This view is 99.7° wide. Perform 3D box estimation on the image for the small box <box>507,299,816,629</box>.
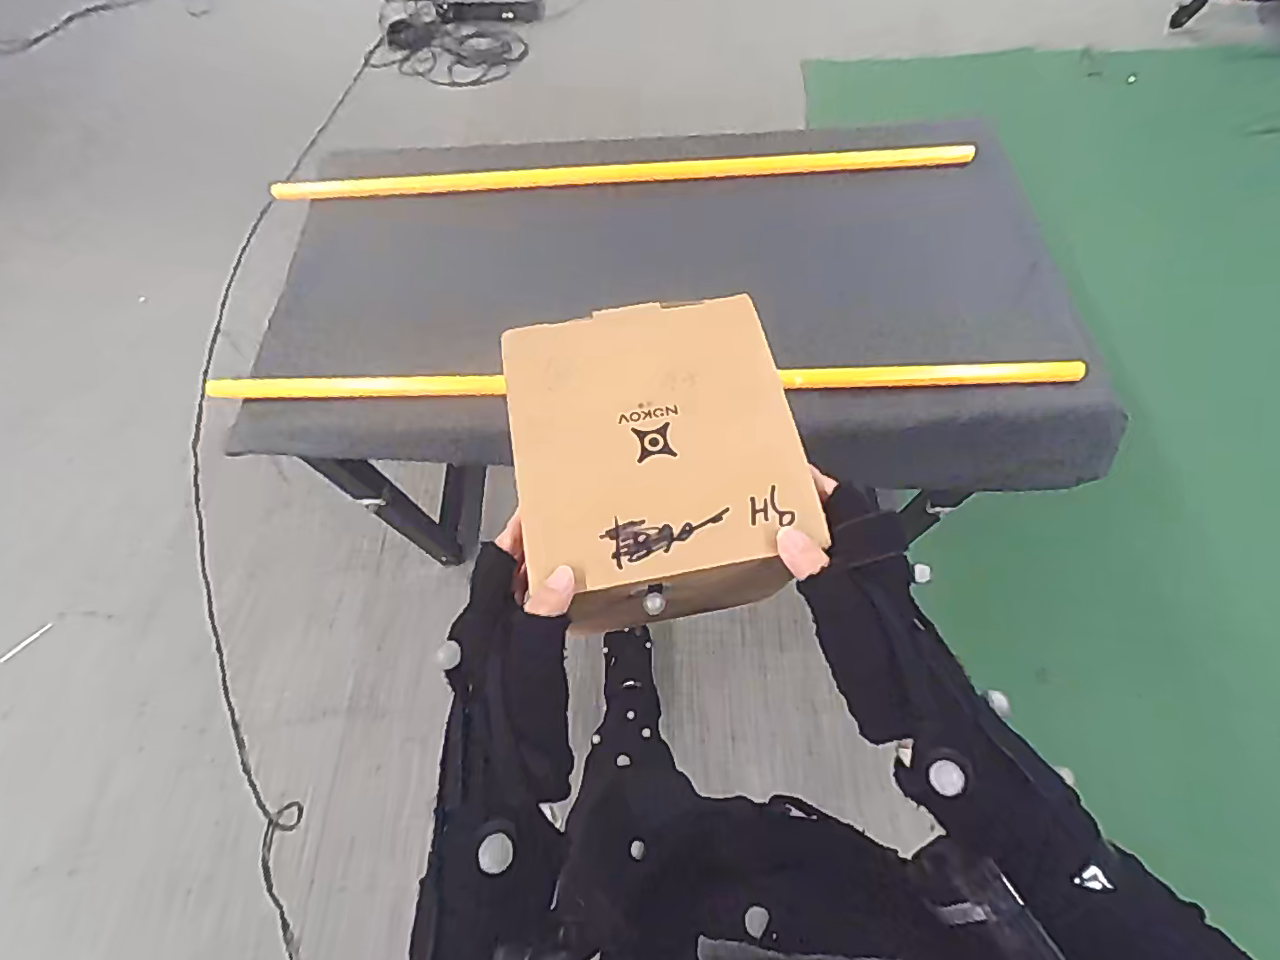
[{"bbox_3d":[0.005,-0.001,0.403,0.168,0.176,0.179,-10,67,-3],"label":"small box"}]
